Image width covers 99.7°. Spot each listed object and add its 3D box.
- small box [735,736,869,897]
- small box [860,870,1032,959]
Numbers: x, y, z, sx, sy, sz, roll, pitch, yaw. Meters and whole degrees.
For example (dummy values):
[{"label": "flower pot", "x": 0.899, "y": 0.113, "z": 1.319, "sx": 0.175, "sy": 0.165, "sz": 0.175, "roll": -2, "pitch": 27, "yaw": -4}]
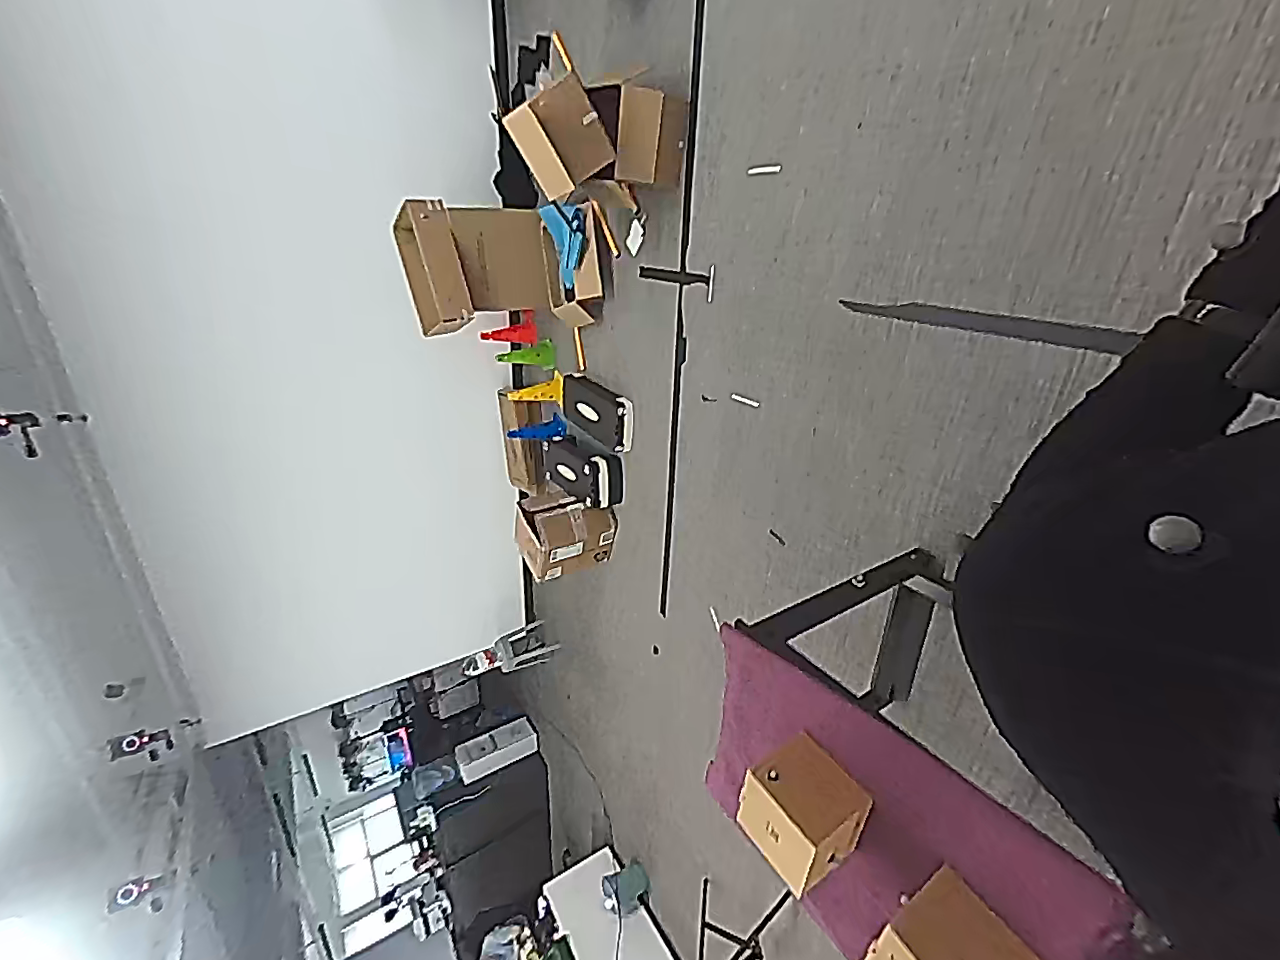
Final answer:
[{"label": "small box", "x": 0.314, "y": 0.645, "z": 1.057, "sx": 0.179, "sy": 0.176, "sz": 0.168, "roll": 37, "pitch": 132, "yaw": 48}, {"label": "small box", "x": 0.476, "y": 0.763, "z": 0.835, "sx": 0.179, "sy": 0.176, "sz": 0.168, "roll": 42, "pitch": 134, "yaw": 45}]
